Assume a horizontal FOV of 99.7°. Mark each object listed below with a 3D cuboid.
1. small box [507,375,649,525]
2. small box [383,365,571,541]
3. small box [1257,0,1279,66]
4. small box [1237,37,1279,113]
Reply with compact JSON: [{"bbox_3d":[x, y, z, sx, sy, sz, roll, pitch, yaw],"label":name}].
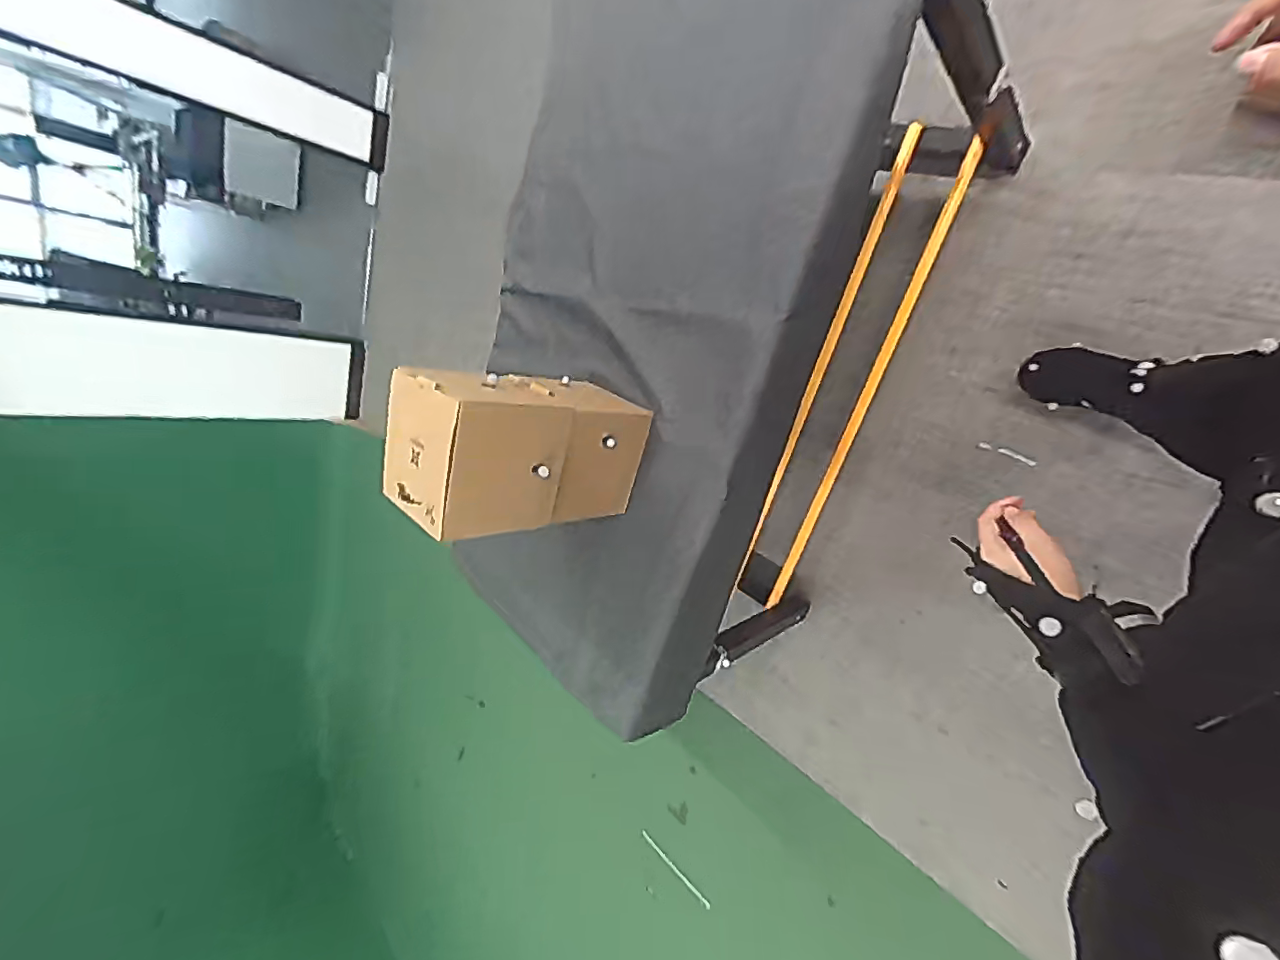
[{"bbox_3d":[-0.108,-0.050,0.842,0.168,0.176,0.179,30,113,37],"label":"small box"},{"bbox_3d":[-0.214,-0.040,0.716,0.168,0.176,0.179,27,110,38],"label":"small box"},{"bbox_3d":[0.912,-0.636,0.654,0.168,0.176,0.179,29,111,36],"label":"small box"},{"bbox_3d":[1.020,-0.659,0.775,0.168,0.176,0.179,32,113,36],"label":"small box"}]
